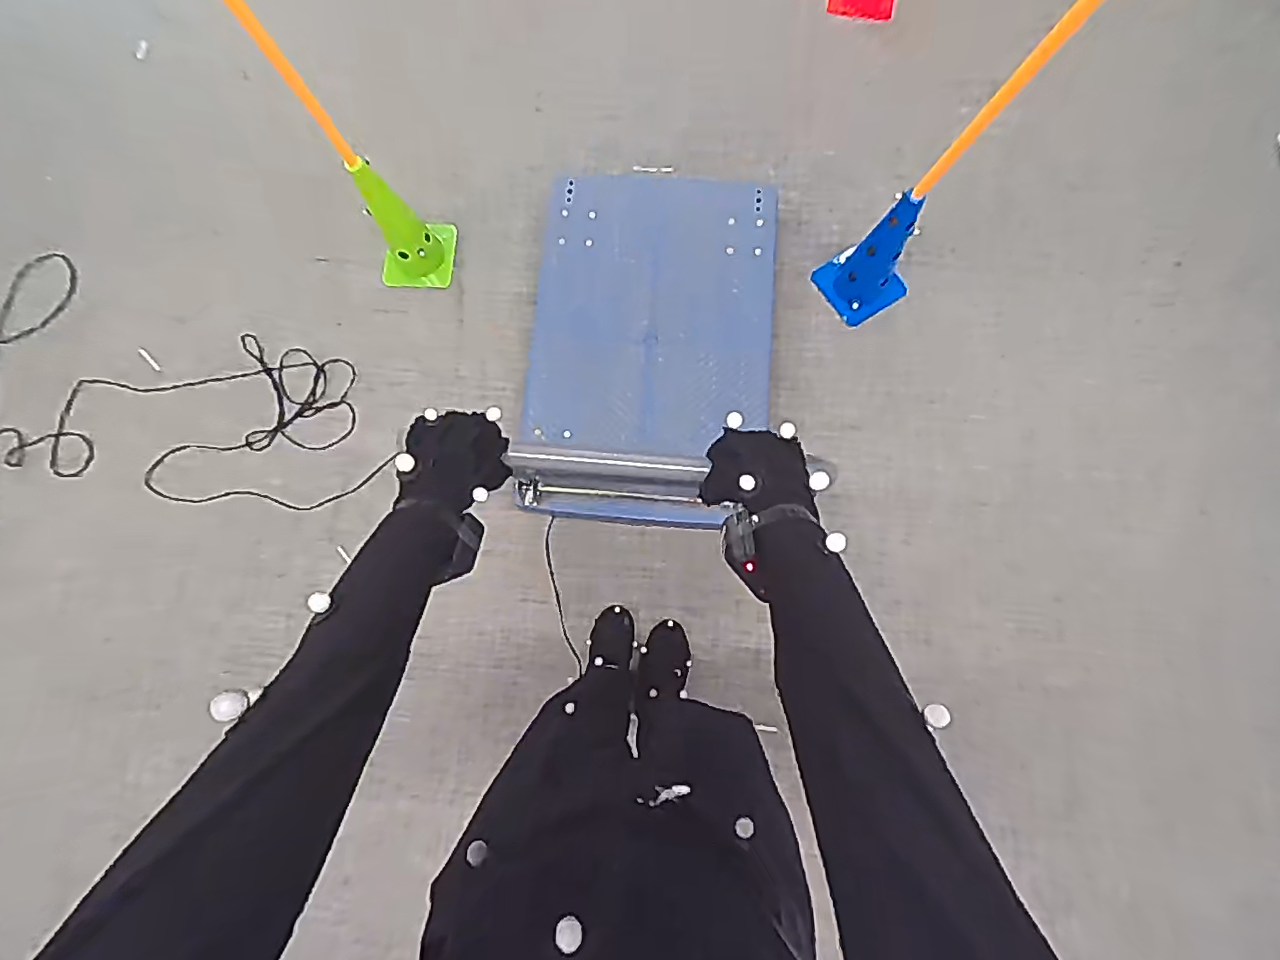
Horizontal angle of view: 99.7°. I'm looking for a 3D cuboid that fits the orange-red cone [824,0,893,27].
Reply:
[{"bbox_3d":[0.676,-1.529,1.512,0.198,0.360,0.199,15,81,6],"label":"orange-red cone"}]
